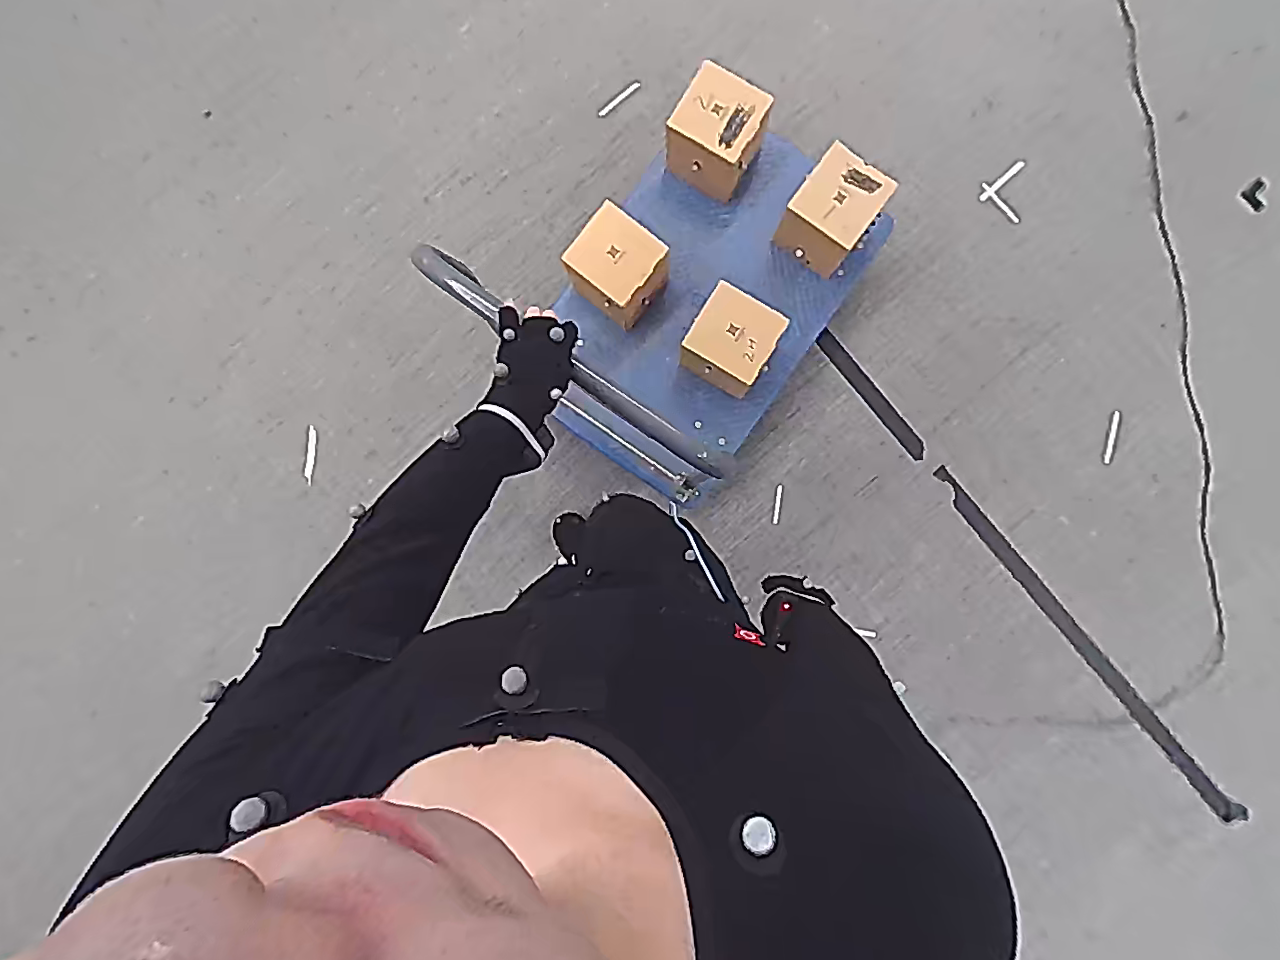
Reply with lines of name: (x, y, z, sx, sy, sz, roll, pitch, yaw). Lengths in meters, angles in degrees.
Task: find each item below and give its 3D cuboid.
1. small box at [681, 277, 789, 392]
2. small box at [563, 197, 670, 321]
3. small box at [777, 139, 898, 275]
small box: (0.204, -0.317, 1.223, 0.179, 0.176, 0.168, 32, 91, 2)
small box: (-0.051, -0.492, 1.236, 0.179, 0.176, 0.168, 39, 90, 0)
small box: (0.432, -0.604, 1.218, 0.168, 0.176, 0.179, 37, 92, 2)
